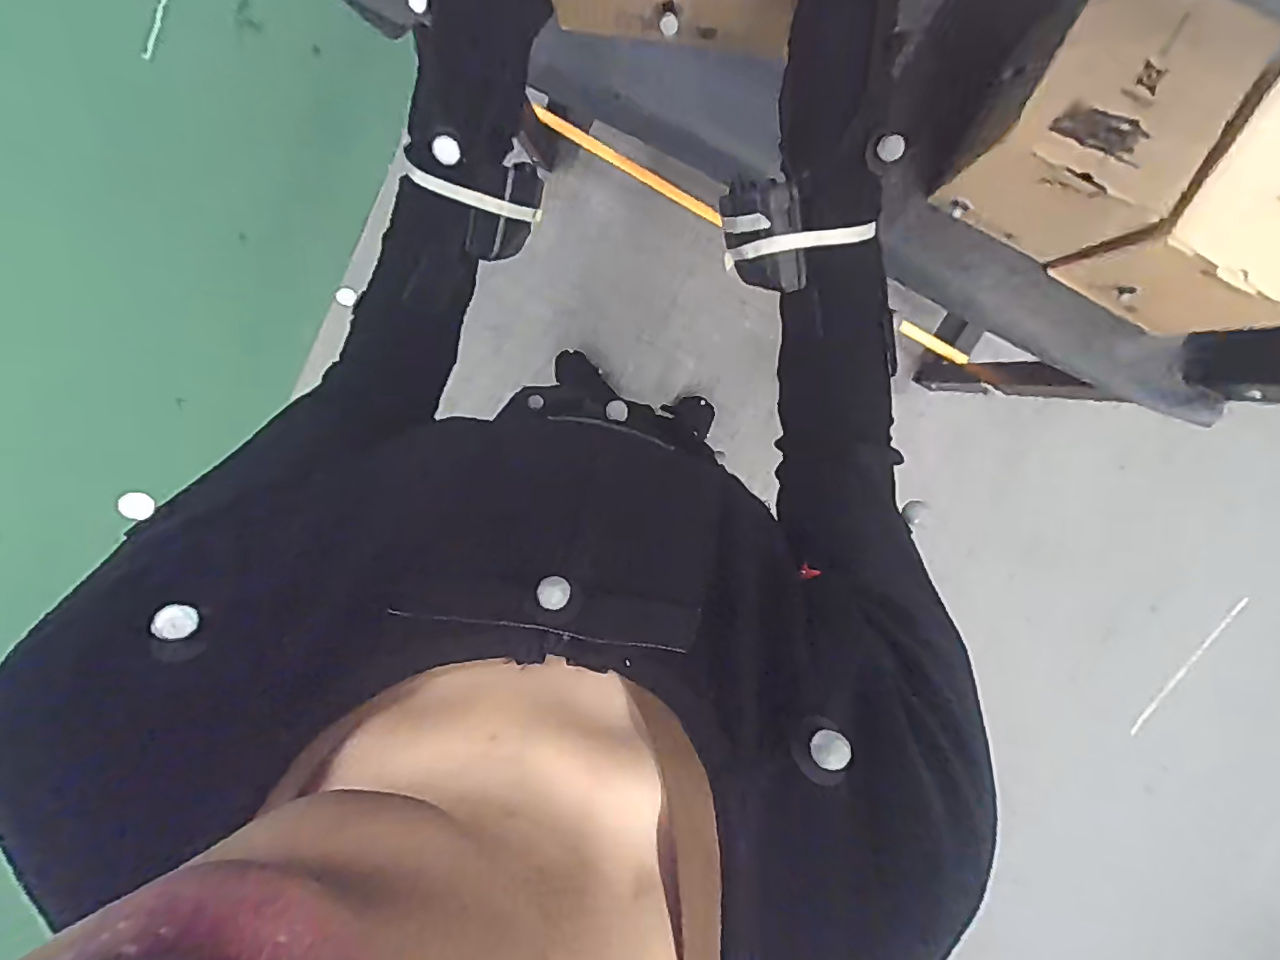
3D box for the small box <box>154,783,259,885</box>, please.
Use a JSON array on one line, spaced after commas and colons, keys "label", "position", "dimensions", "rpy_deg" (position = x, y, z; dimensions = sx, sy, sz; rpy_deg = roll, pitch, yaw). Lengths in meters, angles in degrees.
[{"label": "small box", "position": [-1.343, 1.097, 1.691], "dimensions": [0.168, 0.176, 0.179], "rpy_deg": [31, 101, -1]}]
